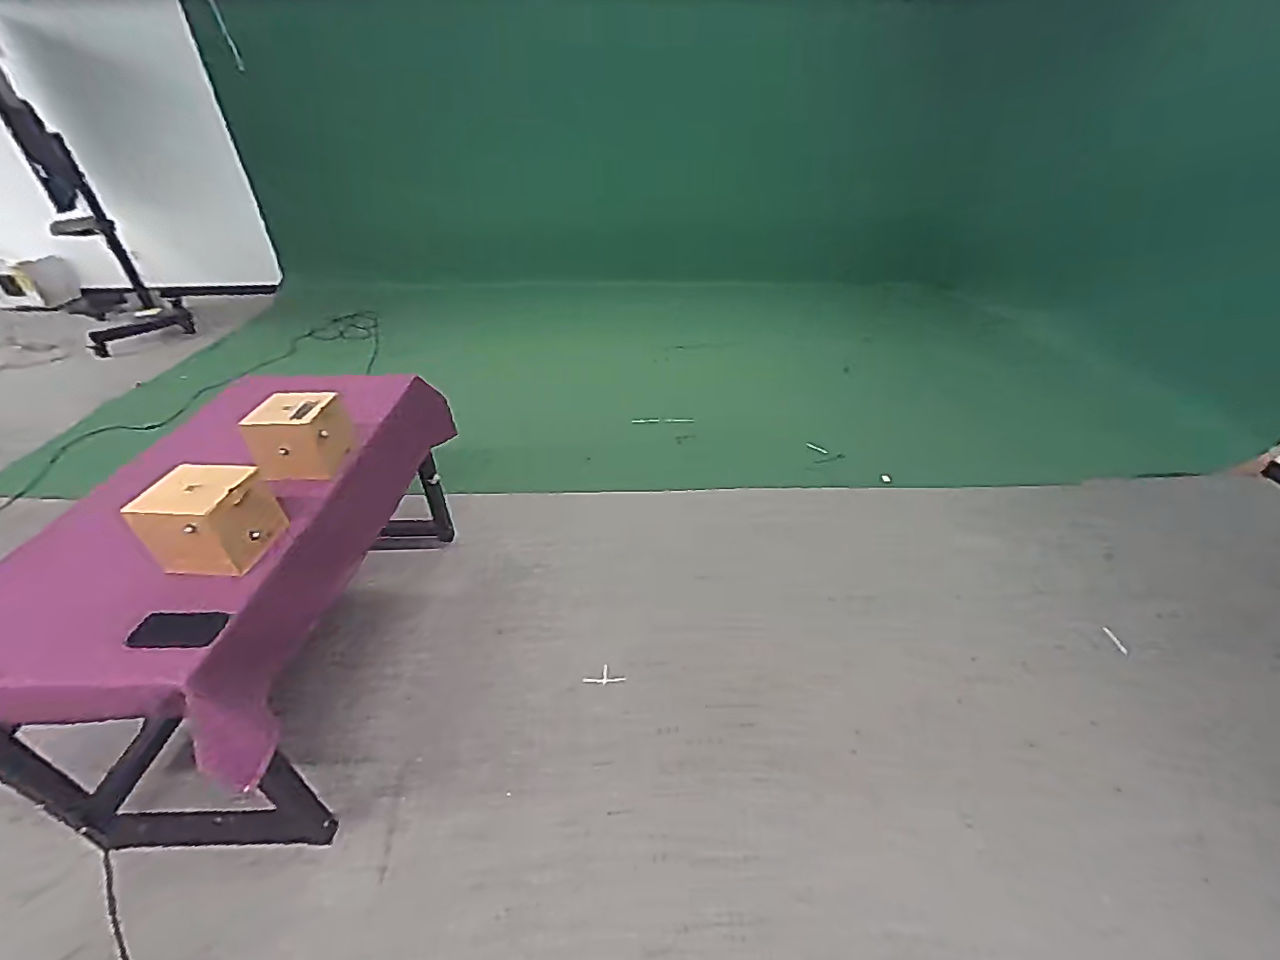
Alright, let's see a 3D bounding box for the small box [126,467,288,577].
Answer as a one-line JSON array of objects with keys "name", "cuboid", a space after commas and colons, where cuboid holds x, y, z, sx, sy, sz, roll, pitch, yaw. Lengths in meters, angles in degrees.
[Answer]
[{"name": "small box", "cuboid": [-0.902, 0.089, 1.147, 0.179, 0.176, 0.168, 2, 36, 3]}]
